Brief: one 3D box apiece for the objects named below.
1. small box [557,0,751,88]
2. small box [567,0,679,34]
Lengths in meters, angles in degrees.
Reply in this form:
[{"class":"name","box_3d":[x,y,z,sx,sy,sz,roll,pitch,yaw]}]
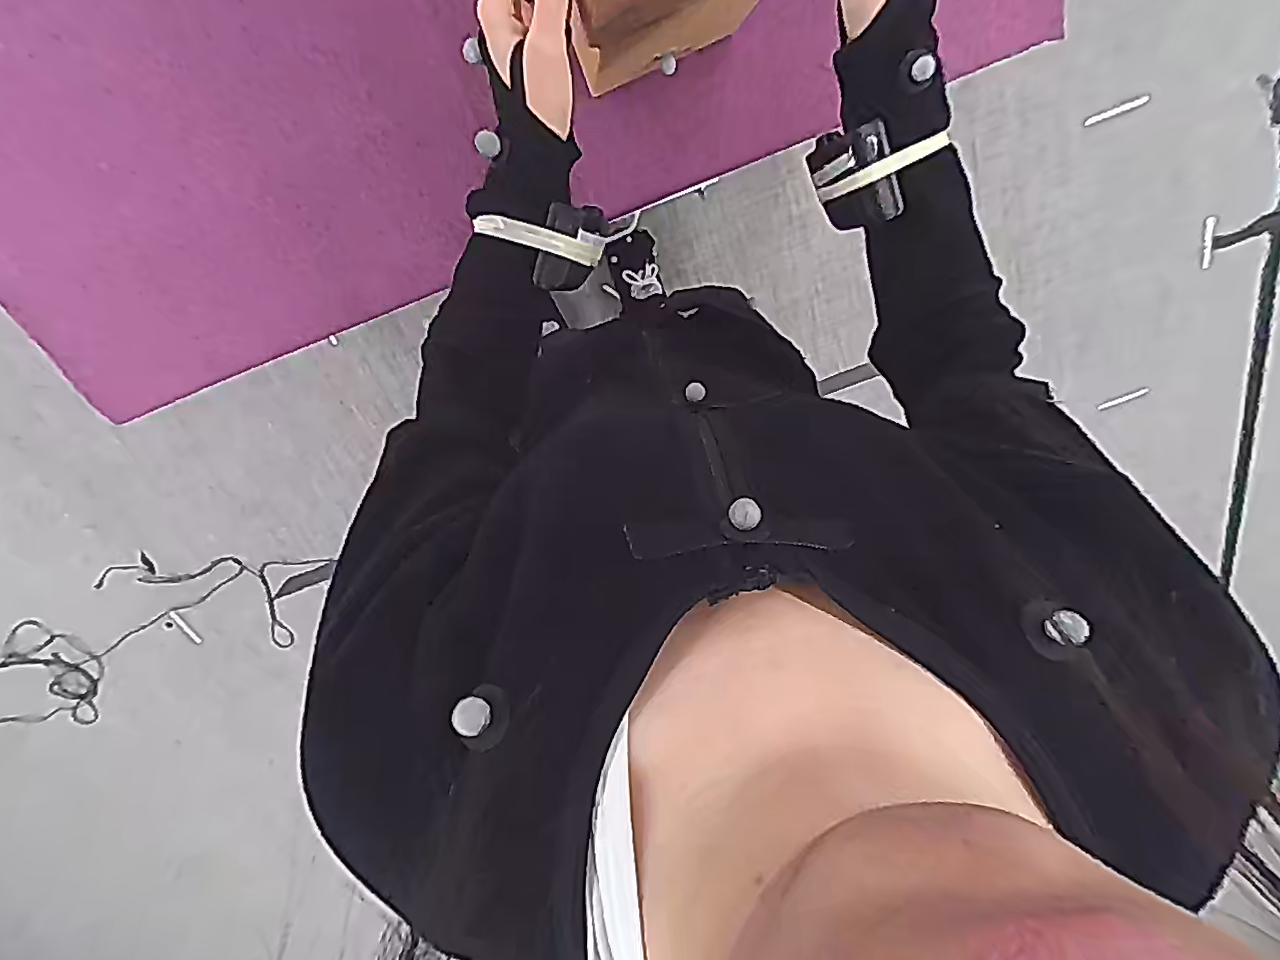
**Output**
[{"class":"small box","box_3d":[-0.001,-0.483,0.466,0.168,0.176,0.179,-22,116,4]},{"class":"small box","box_3d":[0.016,-0.414,0.320,0.179,0.176,0.168,-22,116,4]}]
